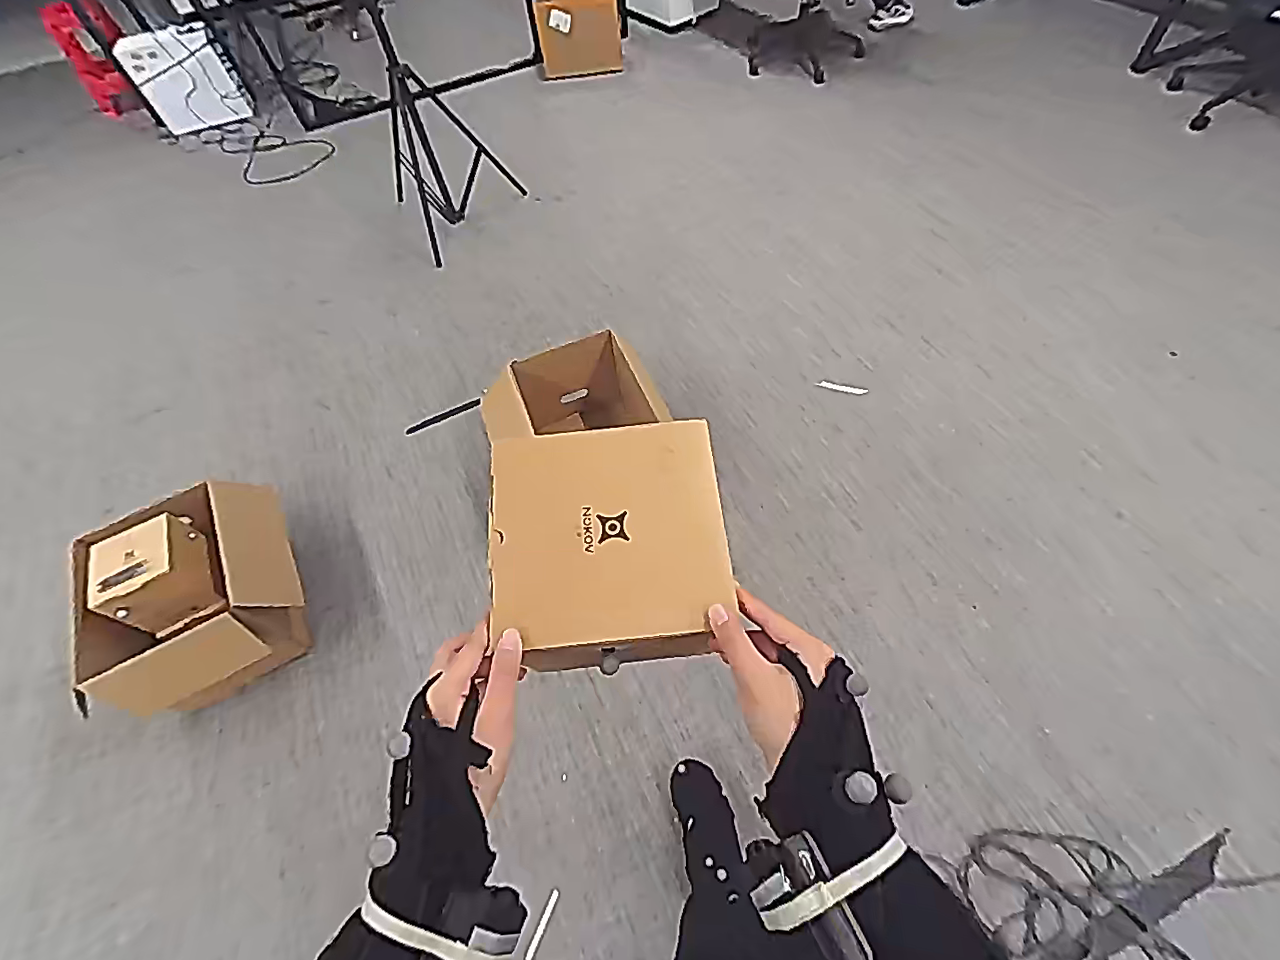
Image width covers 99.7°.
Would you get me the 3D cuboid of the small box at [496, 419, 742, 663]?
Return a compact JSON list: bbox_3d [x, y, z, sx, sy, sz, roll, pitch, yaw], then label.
[{"bbox_3d":[-0.020,0.064,0.481,0.179,0.176,0.168,-7,66,-1],"label":"small box"}]
